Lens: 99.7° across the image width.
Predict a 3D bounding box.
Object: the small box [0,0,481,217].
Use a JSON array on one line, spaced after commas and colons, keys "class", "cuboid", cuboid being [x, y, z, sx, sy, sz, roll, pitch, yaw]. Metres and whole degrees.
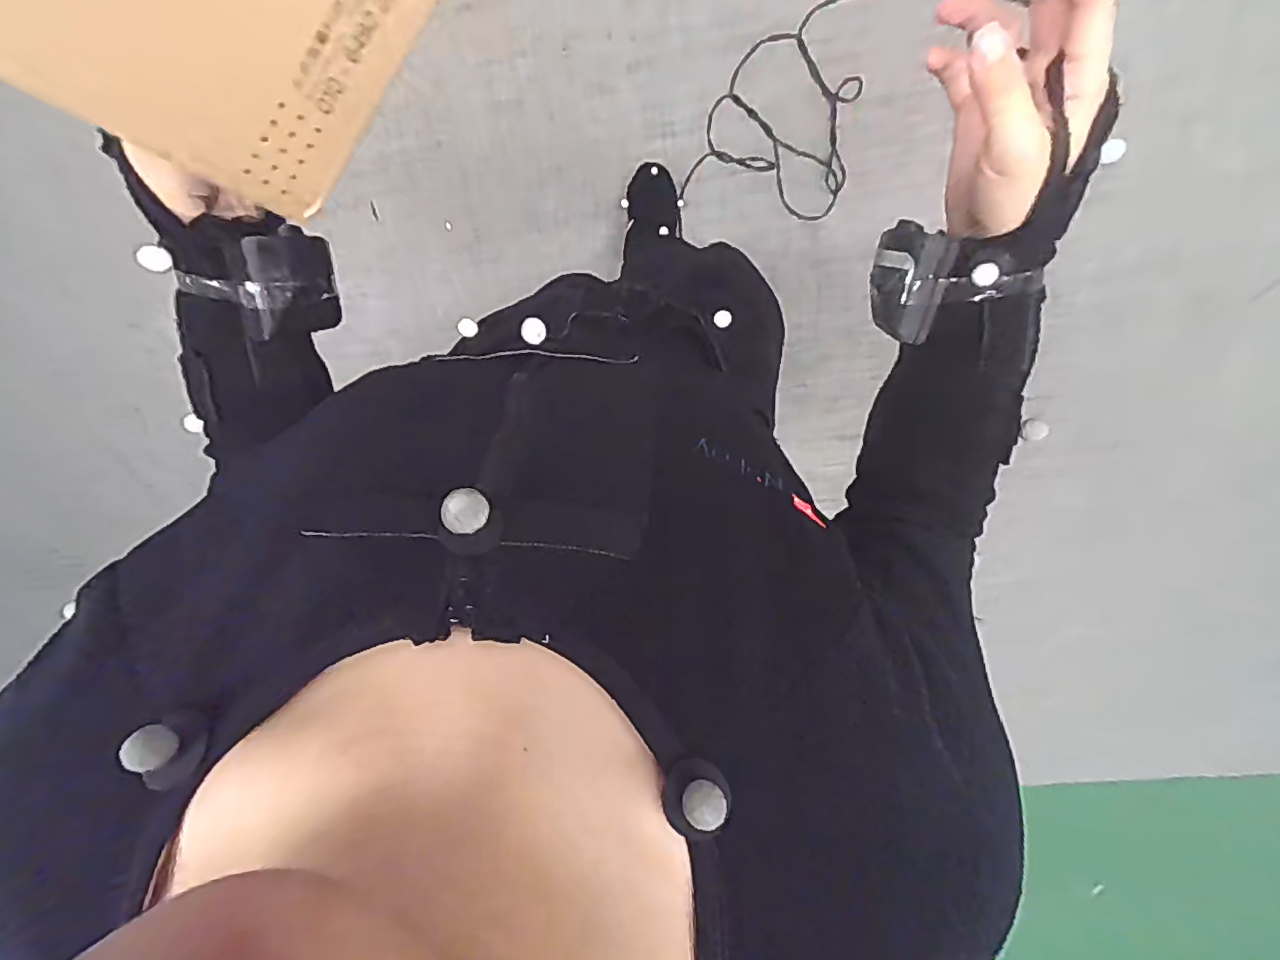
[{"class": "small box", "cuboid": [-0.163, -0.217, 0.158, 0.179, 0.176, 0.168, 44, 105, 20]}]
